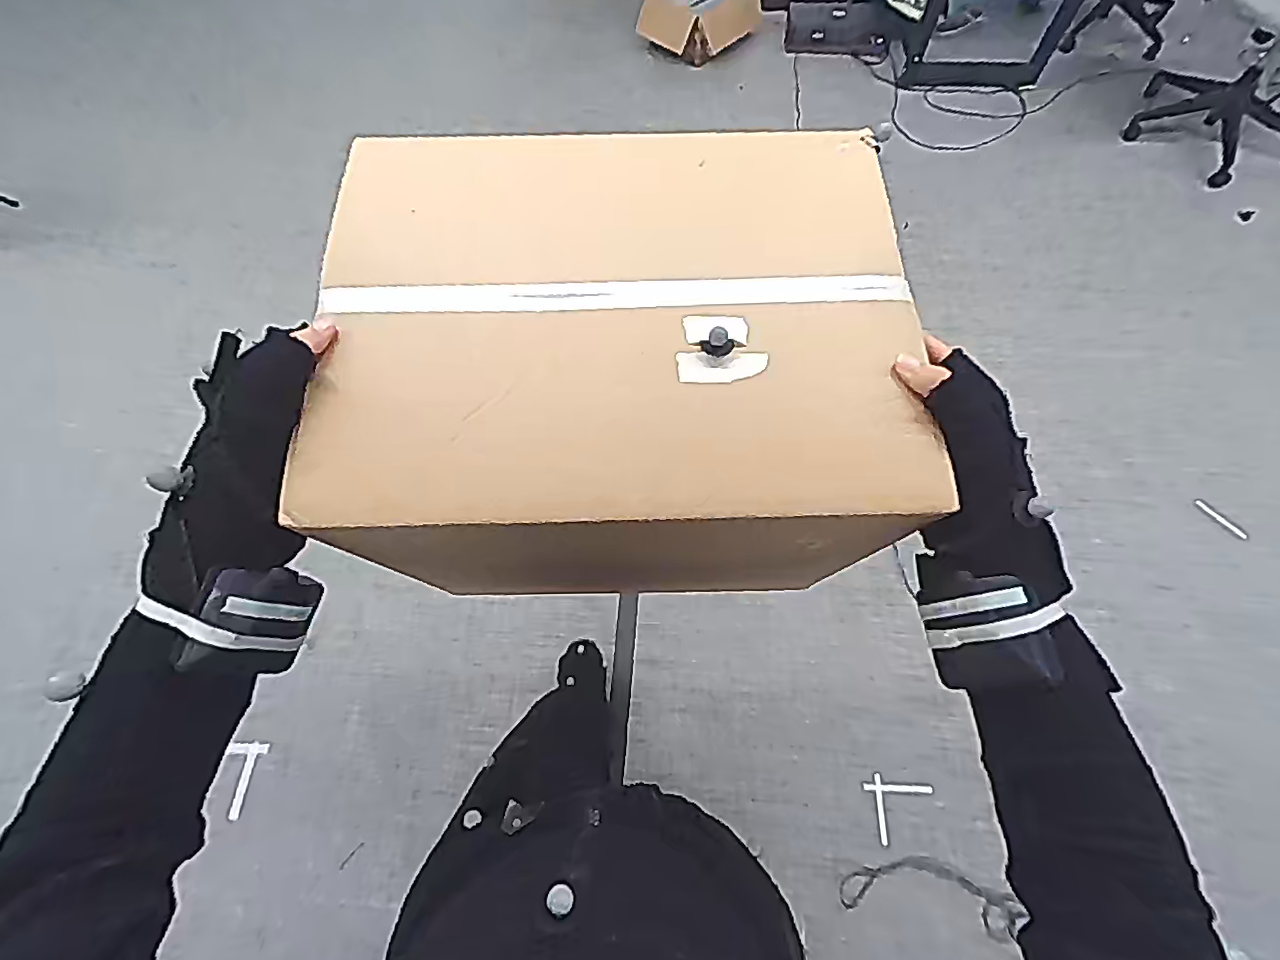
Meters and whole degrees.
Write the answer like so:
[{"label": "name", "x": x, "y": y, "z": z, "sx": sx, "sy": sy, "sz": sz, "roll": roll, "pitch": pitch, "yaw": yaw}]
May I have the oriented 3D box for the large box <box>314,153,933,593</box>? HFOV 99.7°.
[{"label": "large box", "x": -0.015, "y": -0.072, "z": 0.532, "sx": 0.408, "sy": 0.320, "sz": 0.320, "roll": -1, "pitch": 70, "yaw": -1}]
